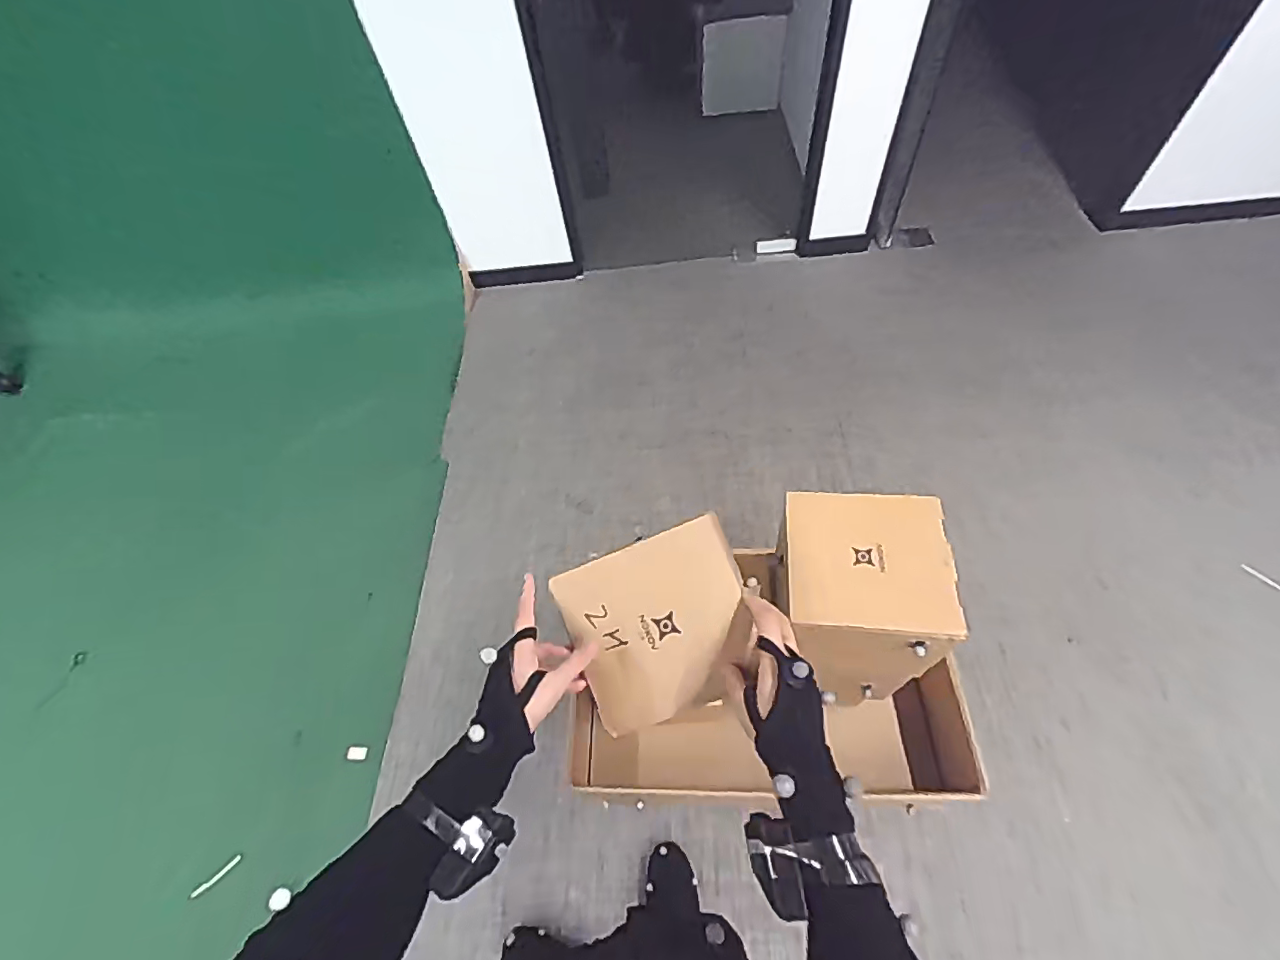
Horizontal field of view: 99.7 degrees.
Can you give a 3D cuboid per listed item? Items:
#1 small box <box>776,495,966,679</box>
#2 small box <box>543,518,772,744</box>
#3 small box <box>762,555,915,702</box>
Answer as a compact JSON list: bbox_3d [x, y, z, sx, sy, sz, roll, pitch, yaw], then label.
[{"bbox_3d":[0.258,0.133,0.655,0.179,0.176,0.168,2,57,9],"label":"small box"},{"bbox_3d":[0.026,0.147,0.589,0.179,0.176,0.168,-25,84,9],"label":"small box"},{"bbox_3d":[0.274,0.221,0.790,0.179,0.176,0.168,0,58,9],"label":"small box"}]
